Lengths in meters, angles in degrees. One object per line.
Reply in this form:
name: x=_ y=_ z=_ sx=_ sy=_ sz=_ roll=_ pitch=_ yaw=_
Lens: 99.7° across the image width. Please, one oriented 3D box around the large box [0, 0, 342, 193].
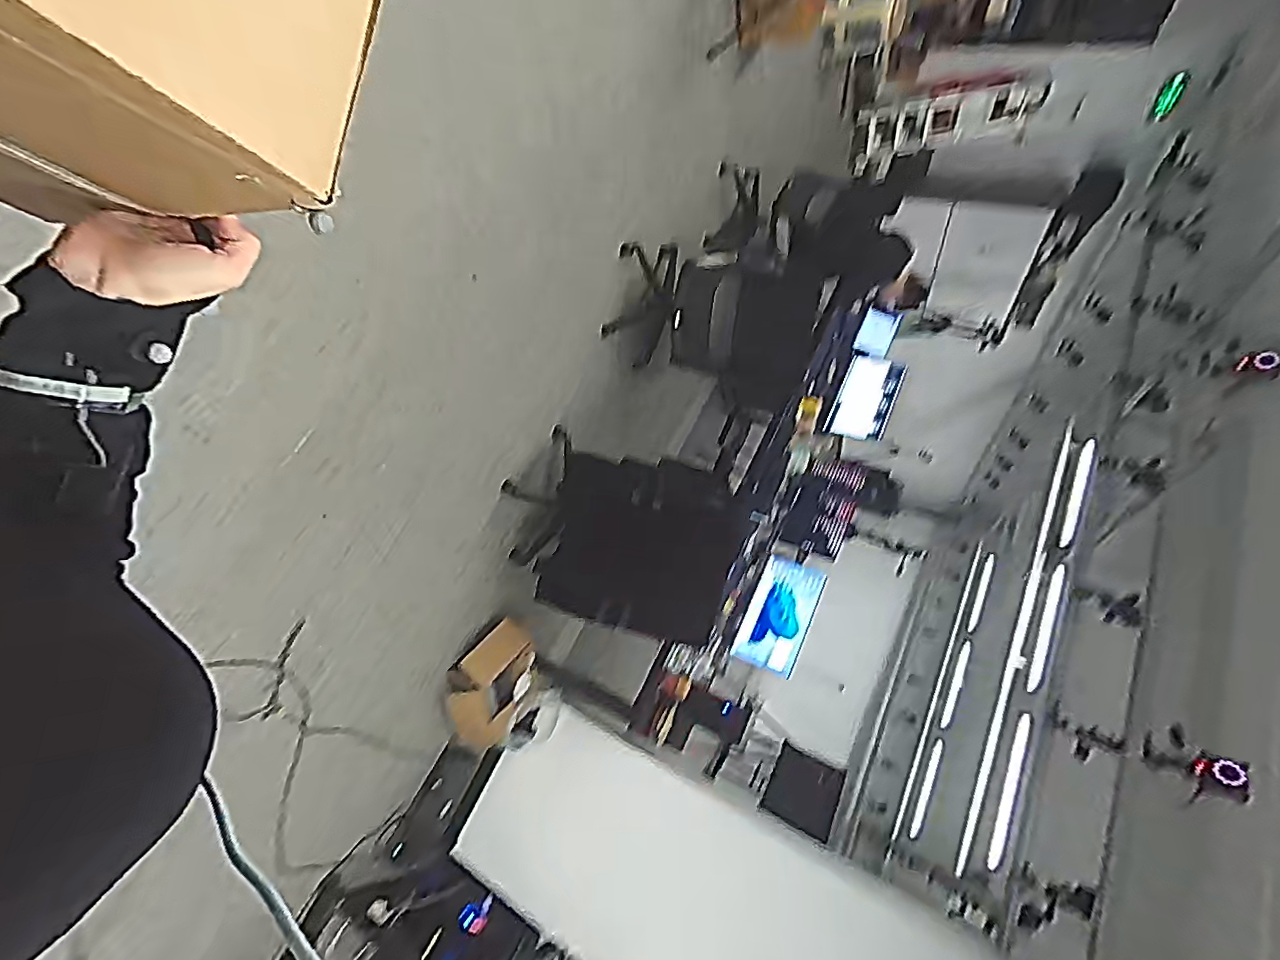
large box: x=-0.348 y=-0.346 z=0.148 sx=0.408 sy=0.320 sz=0.320 roll=12 pitch=91 yaw=-66
